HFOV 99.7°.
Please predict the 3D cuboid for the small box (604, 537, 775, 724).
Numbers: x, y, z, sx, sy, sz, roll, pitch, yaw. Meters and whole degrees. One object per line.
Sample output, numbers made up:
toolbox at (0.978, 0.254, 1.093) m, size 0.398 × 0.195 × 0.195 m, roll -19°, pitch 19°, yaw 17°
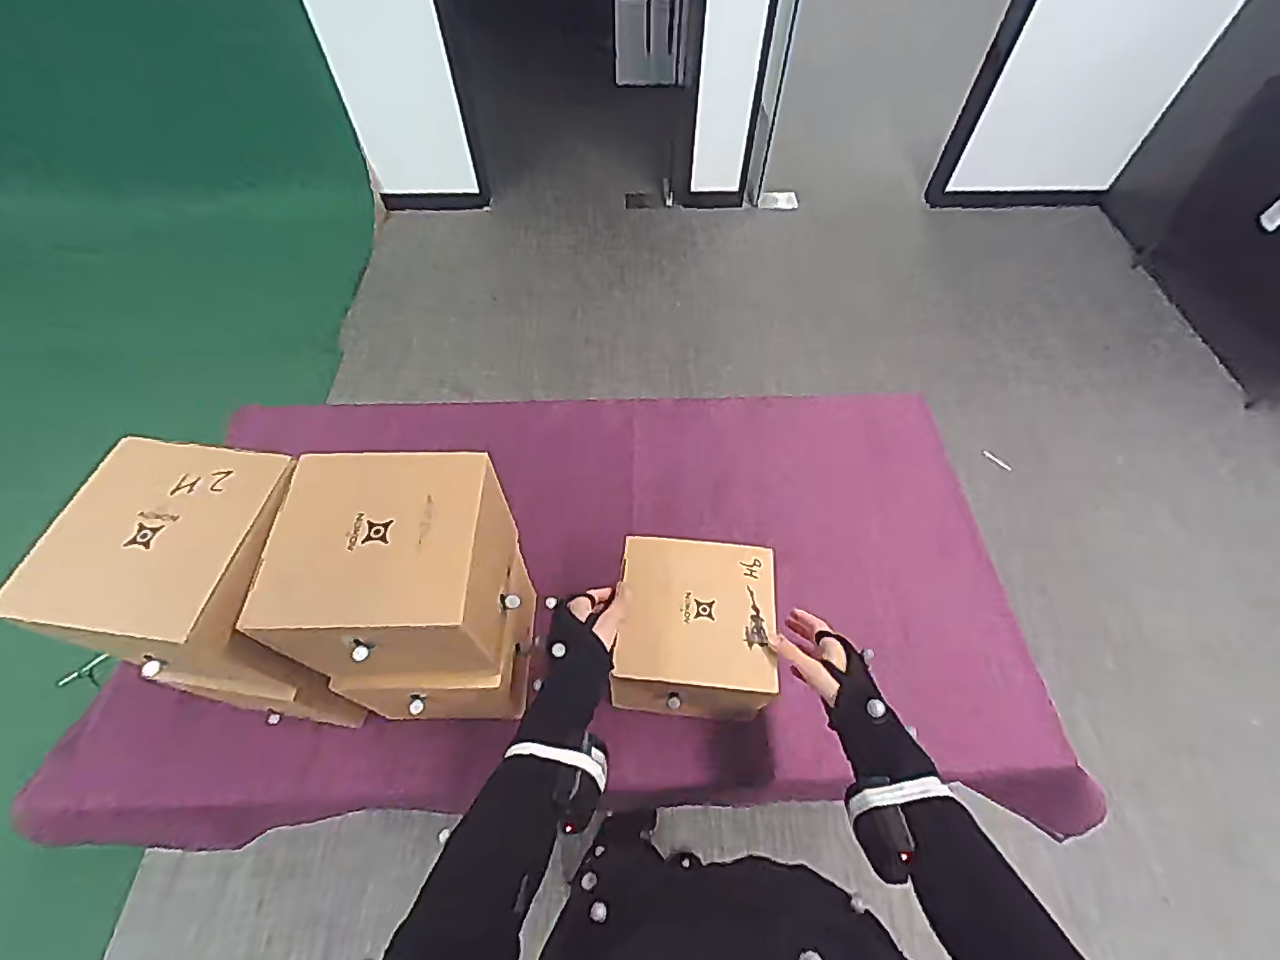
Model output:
small box at (0.058, 0.186, 0.653) m, size 0.179 × 0.176 × 0.168 m, roll 5°, pitch 56°, yaw 3°
